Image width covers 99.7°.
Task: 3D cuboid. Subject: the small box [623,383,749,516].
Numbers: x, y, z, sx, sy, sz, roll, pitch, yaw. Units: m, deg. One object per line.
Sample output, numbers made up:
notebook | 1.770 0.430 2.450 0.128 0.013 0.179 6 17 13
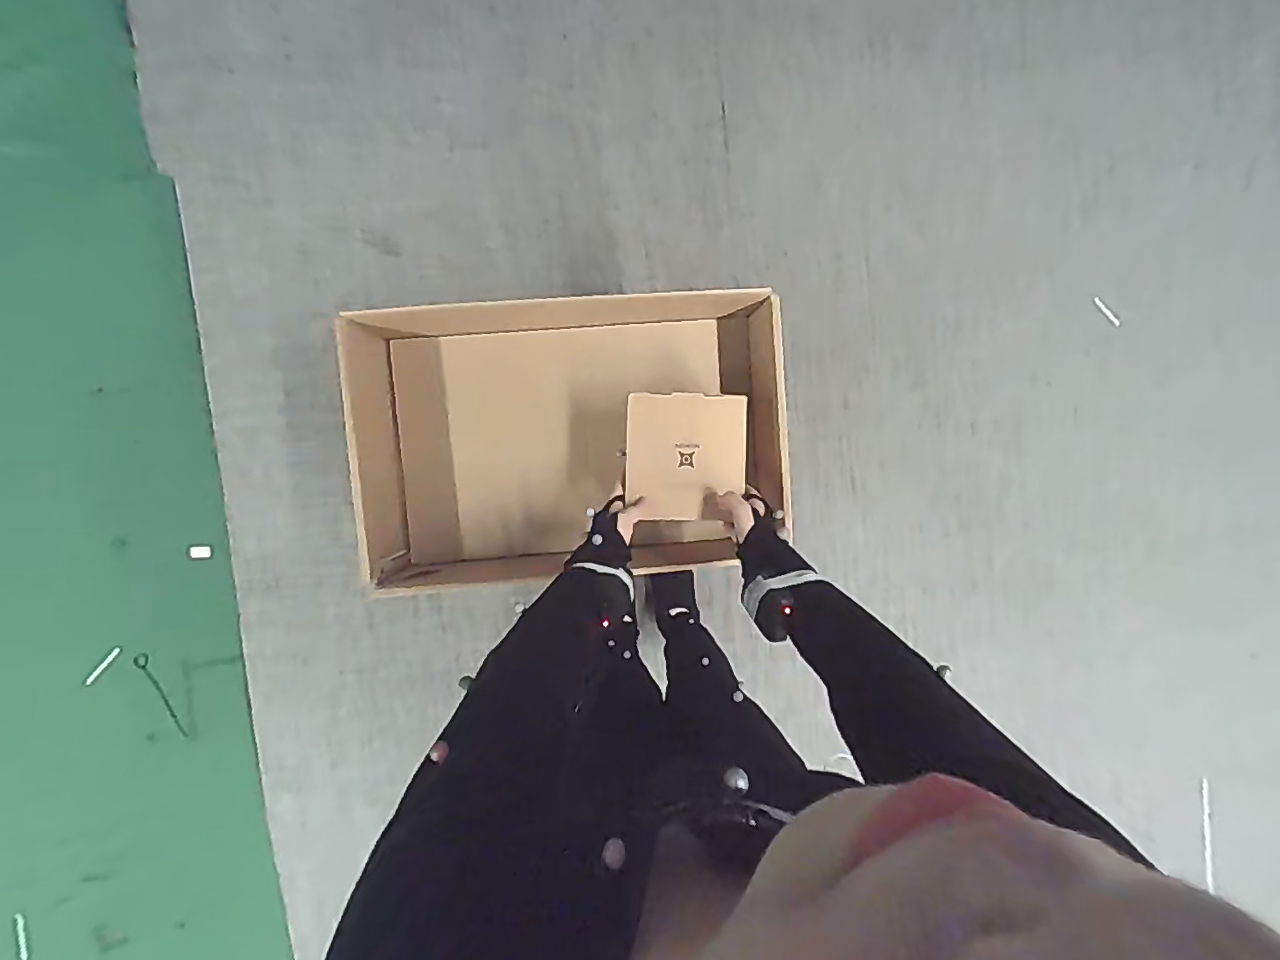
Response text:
small box | 0.061 -0.040 0.810 0.168 0.176 0.179 2 90 -2
